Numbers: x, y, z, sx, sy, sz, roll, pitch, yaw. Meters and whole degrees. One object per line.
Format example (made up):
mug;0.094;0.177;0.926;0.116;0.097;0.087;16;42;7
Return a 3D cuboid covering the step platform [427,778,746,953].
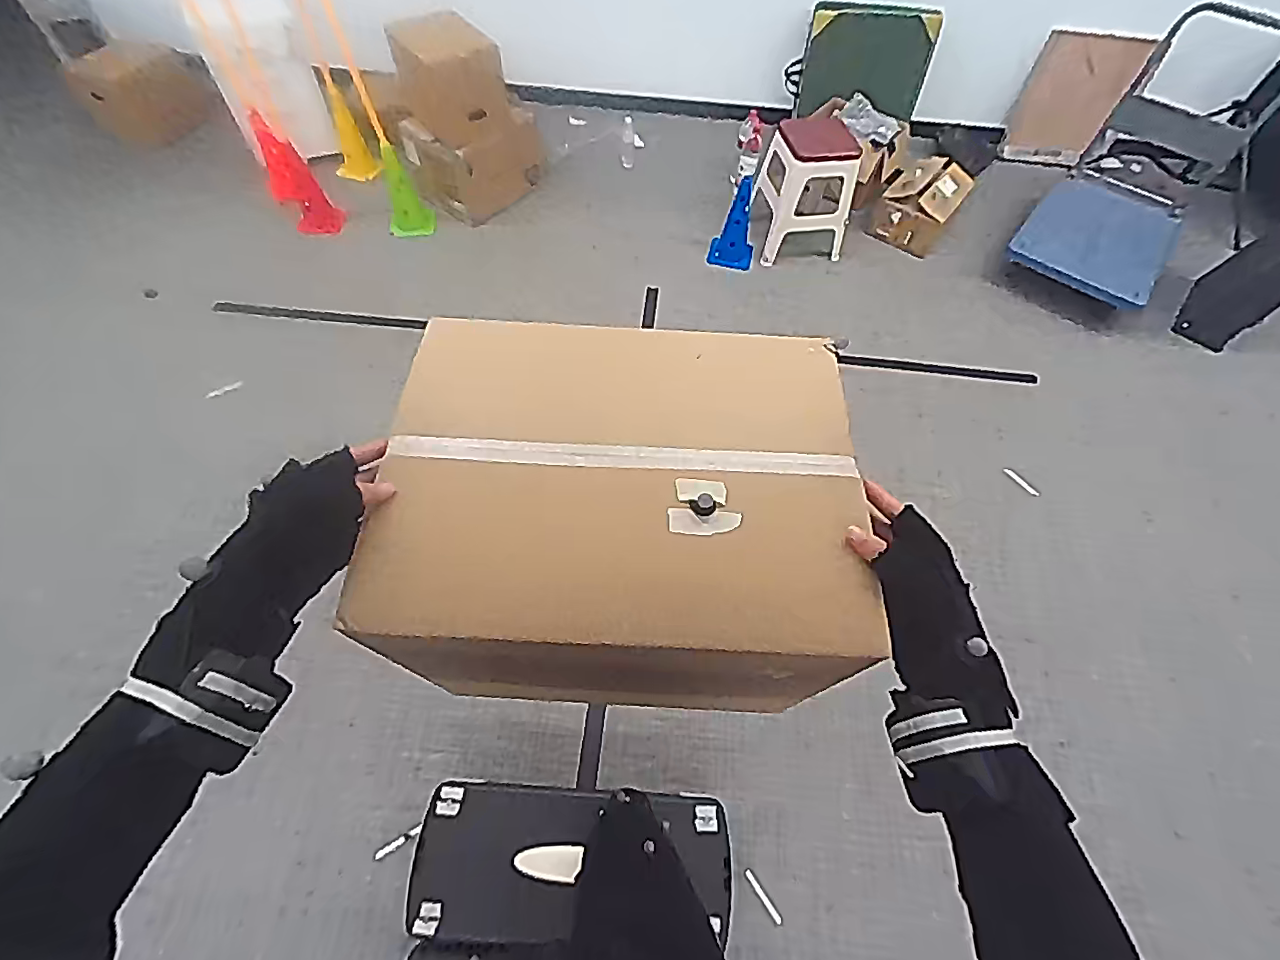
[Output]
step platform;-0.109;0.853;1.217;0.684;0.204;0.286;5;58;-1

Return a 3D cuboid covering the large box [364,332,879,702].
large box;-0.015;0.061;0.613;0.408;0.320;0.320;3;61;-1
